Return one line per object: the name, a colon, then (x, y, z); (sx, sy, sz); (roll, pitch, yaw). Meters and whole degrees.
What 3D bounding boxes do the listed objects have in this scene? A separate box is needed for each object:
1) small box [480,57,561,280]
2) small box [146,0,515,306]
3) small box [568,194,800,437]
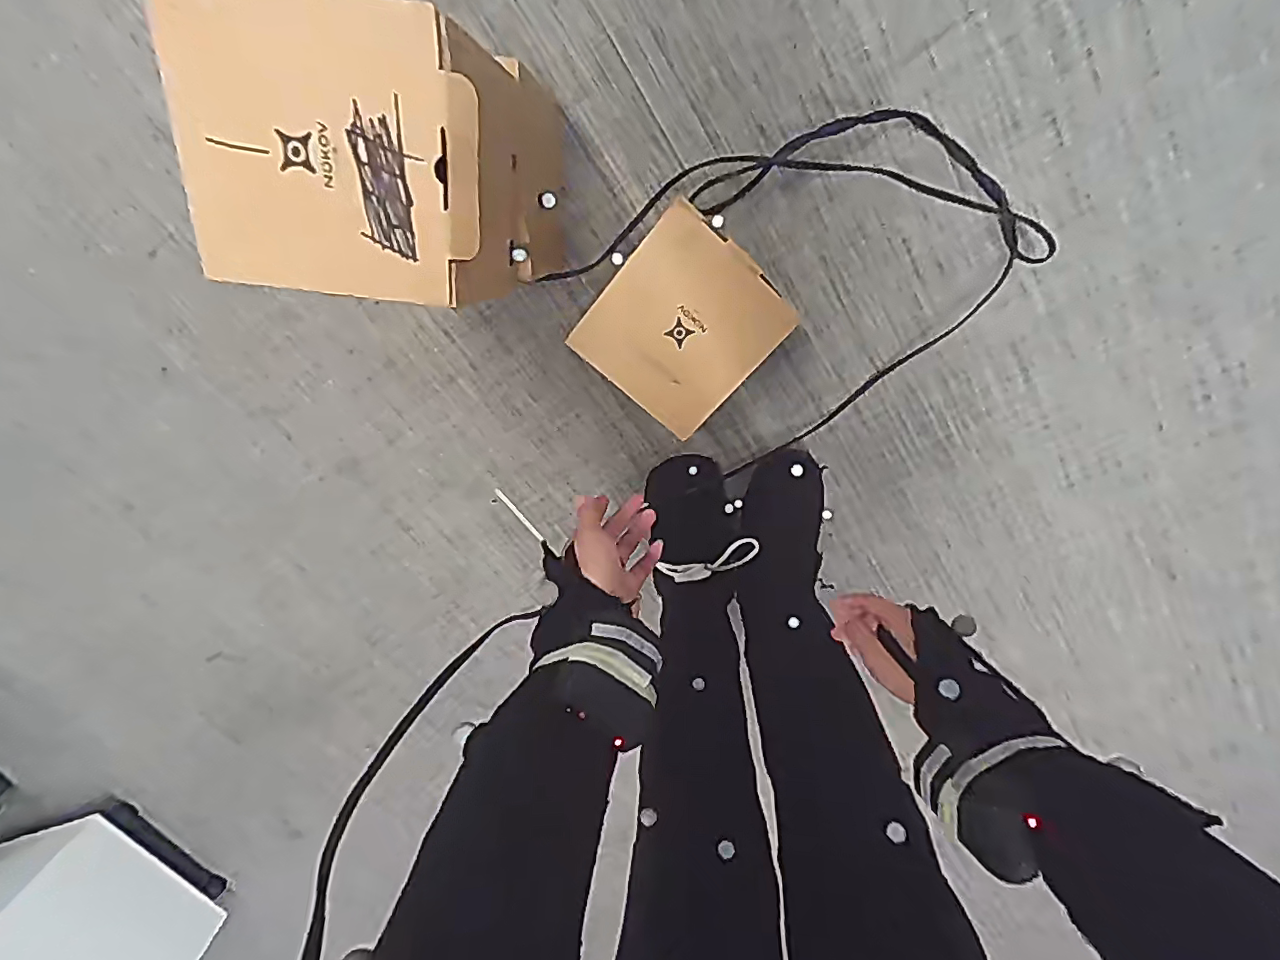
small box: (-0.179, -0.309, 0.558); (0.168, 0.176, 0.179); (2, 115, 3)
small box: (-0.199, -0.237, 0.410); (0.179, 0.176, 0.168); (7, 114, 1)
small box: (0.044, -0.186, 0.605); (0.168, 0.176, 0.179); (38, 111, -13)
